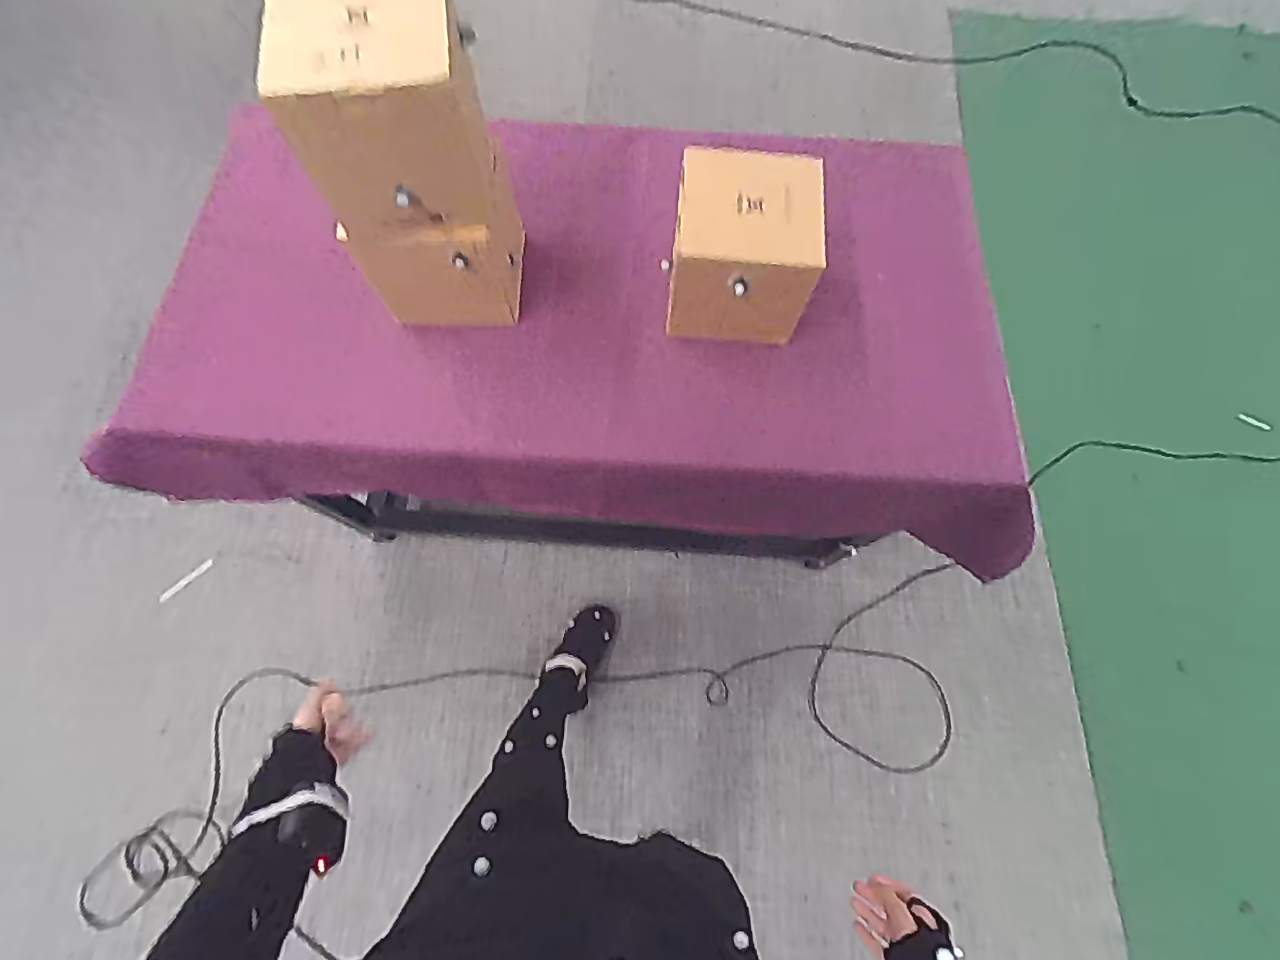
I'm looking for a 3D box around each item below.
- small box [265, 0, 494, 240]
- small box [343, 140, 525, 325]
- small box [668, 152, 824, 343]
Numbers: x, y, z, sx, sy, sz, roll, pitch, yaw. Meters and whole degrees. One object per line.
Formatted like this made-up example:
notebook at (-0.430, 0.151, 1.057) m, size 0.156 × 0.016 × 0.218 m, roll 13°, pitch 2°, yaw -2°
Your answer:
small box at (-0.260, -0.392, 0.581) m, size 0.168 × 0.176 × 0.179 m, roll -8°, pitch 71°, yaw -4°
small box at (-0.262, -0.326, 0.732) m, size 0.179 × 0.176 × 0.168 m, roll 0°, pitch 70°, yaw -2°
small box at (0.133, -0.302, 0.727) m, size 0.179 × 0.176 × 0.168 m, roll 6°, pitch 71°, yaw 0°
